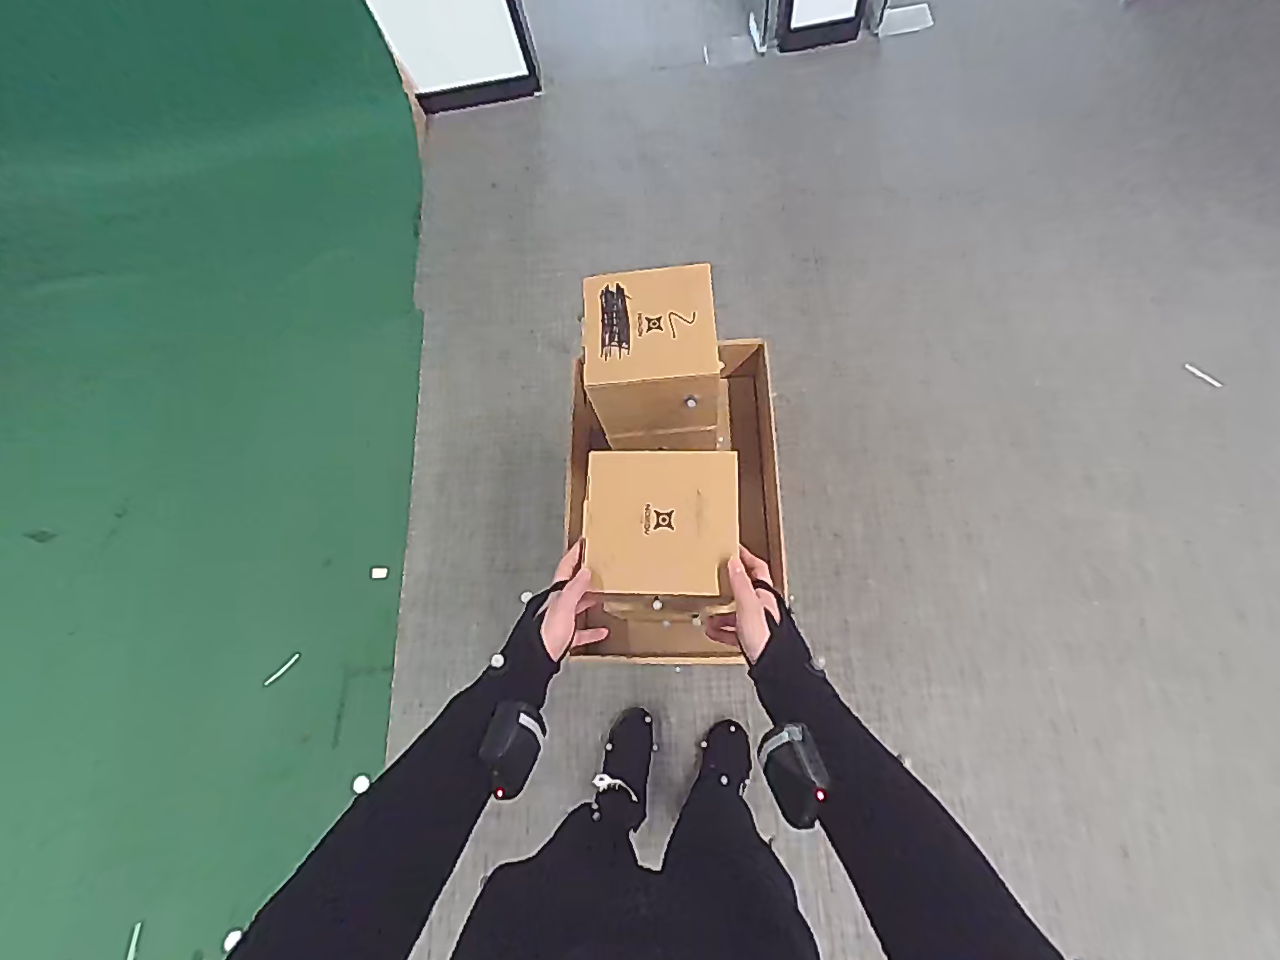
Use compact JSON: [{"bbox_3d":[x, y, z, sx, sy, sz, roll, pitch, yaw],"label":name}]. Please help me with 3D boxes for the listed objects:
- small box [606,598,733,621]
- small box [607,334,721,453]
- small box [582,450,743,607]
[{"bbox_3d":[0.052,0.127,0.842,0.179,0.176,0.168,0,72,7],"label":"small box"},{"bbox_3d":[0.044,-0.129,0.926,0.179,0.176,0.168,-4,73,7],"label":"small box"},{"bbox_3d":[0.034,0.069,0.678,0.179,0.176,0.168,1,74,5],"label":"small box"}]
